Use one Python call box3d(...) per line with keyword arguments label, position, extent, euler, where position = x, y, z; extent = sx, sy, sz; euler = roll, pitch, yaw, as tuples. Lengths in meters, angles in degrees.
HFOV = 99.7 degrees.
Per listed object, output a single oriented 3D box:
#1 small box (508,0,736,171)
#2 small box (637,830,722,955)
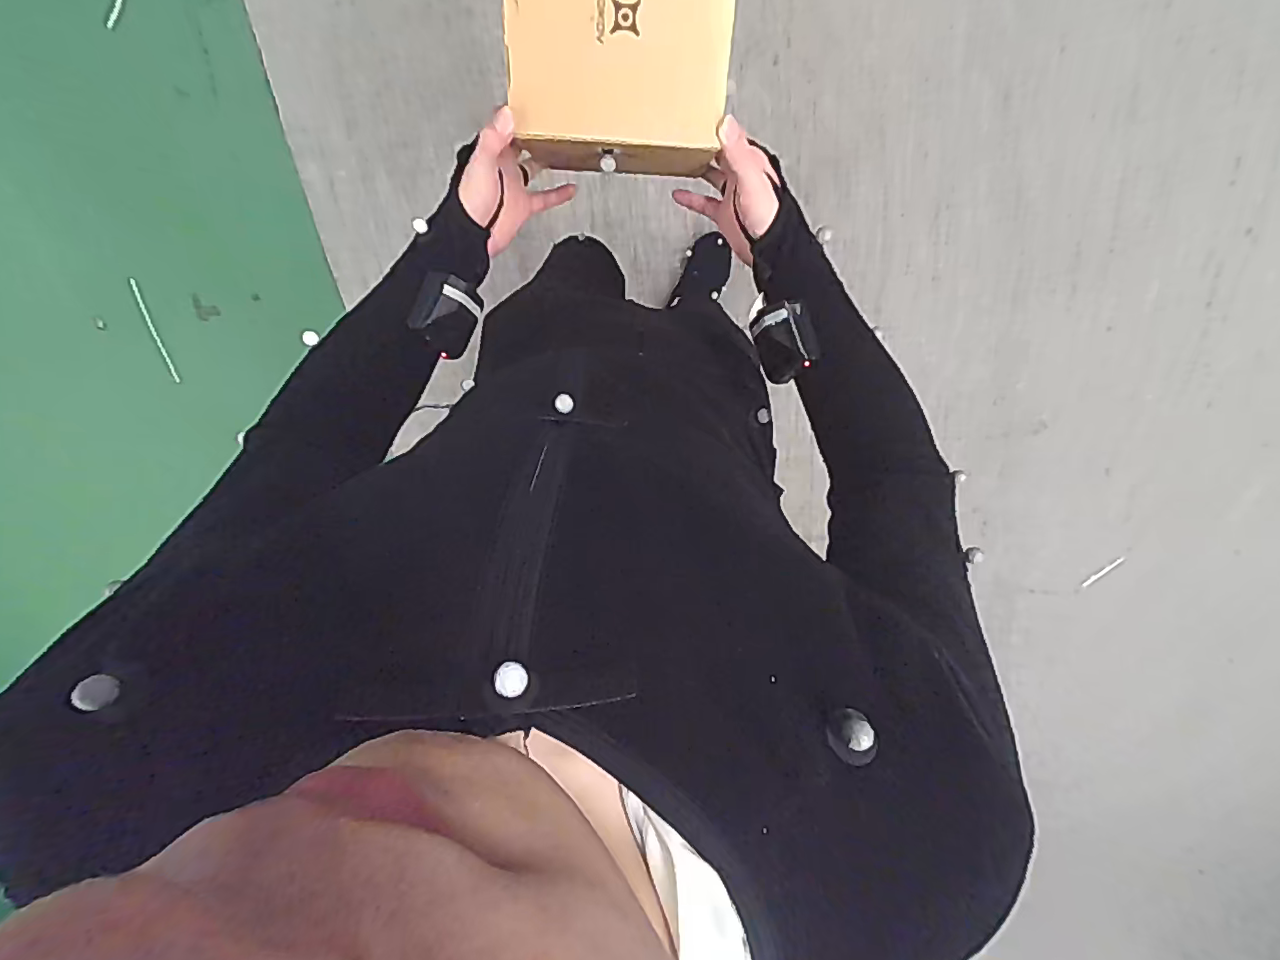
box3d(label="small box", position=(-0.013, -0.385, 0.486), extent=(0.179, 0.176, 0.168), euler=(4, 113, 1))
box3d(label="small box", position=(0.097, 0.939, 1.242), extent=(0.179, 0.176, 0.168), euler=(-3, 115, 9))
